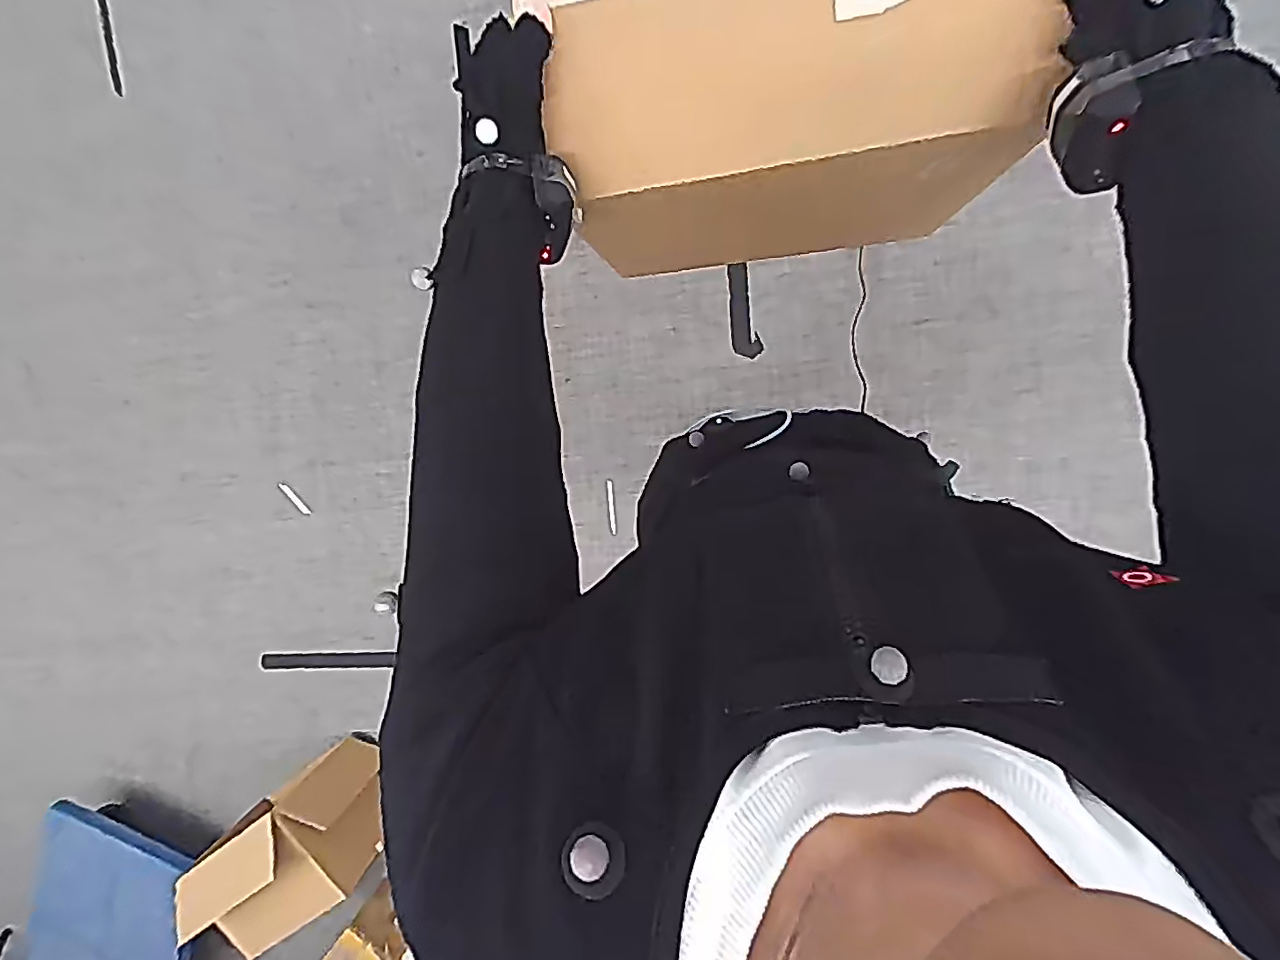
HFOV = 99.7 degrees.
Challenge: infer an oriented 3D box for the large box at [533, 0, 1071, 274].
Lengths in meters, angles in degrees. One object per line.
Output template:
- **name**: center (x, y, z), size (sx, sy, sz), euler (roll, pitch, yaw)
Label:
- **large box**: center (0.128, -0.431, 0.557), size (0.408, 0.320, 0.320), euler (-5, 99, 10)
